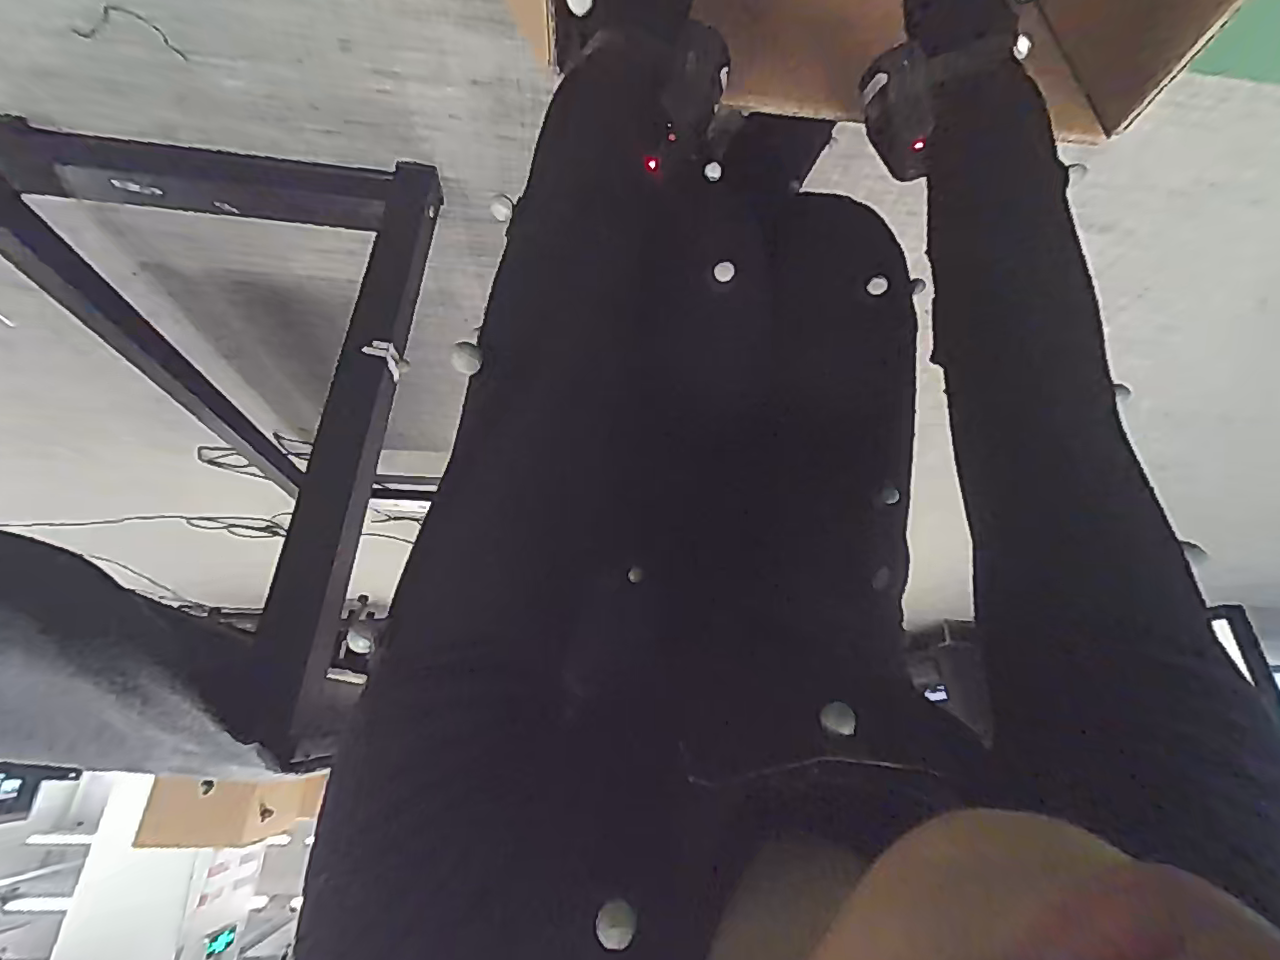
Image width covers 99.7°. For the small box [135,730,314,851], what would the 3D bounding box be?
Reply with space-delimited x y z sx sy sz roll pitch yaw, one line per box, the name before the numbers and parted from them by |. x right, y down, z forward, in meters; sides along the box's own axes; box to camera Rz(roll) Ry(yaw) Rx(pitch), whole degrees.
small box | -0.717 0.540 0.959 0.168 0.176 0.179 3 156 -4

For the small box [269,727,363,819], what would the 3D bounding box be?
small box | -0.754 0.654 1.219 0.168 0.176 0.179 2 156 -4
